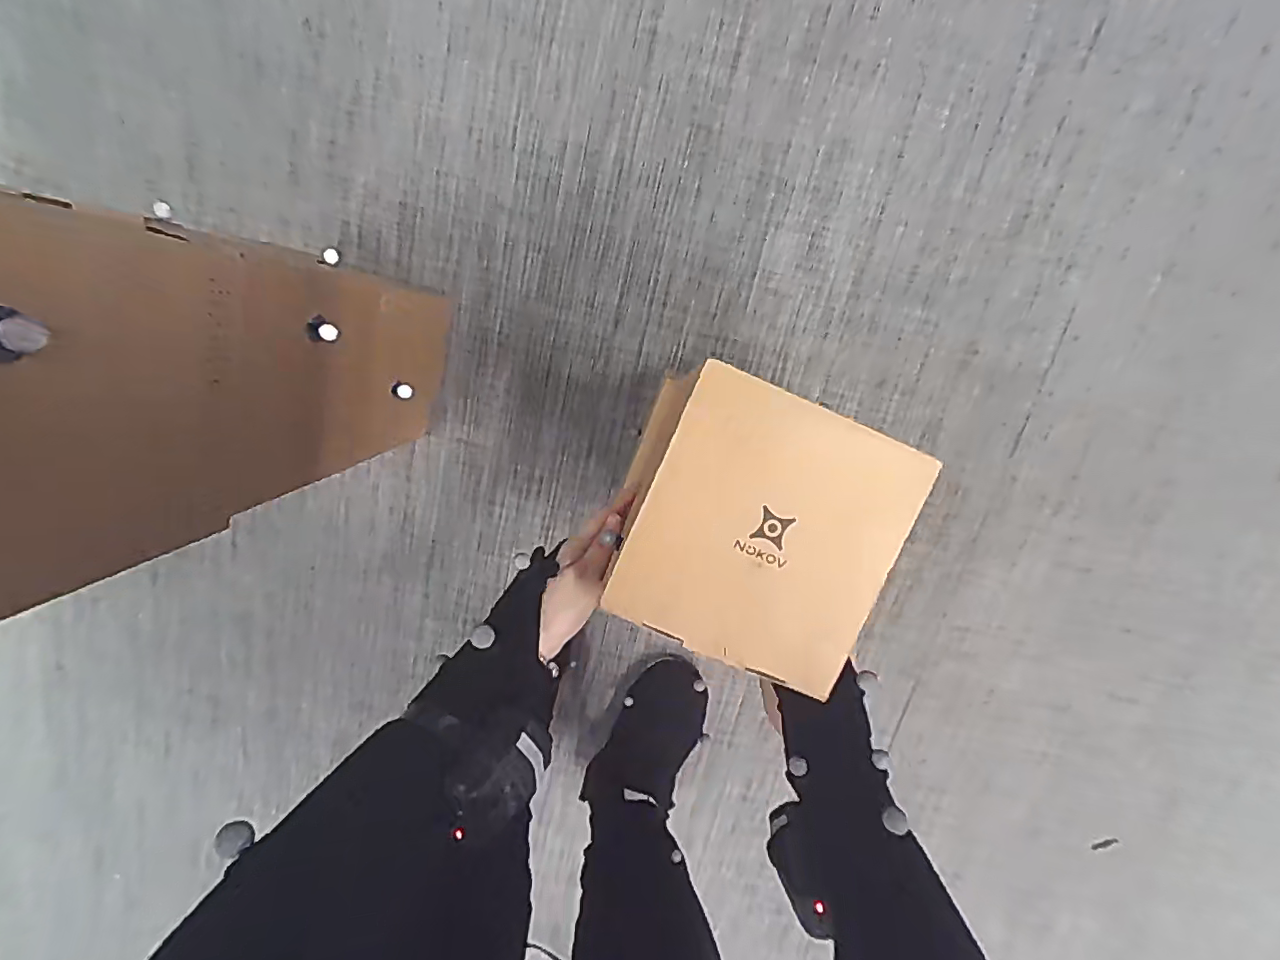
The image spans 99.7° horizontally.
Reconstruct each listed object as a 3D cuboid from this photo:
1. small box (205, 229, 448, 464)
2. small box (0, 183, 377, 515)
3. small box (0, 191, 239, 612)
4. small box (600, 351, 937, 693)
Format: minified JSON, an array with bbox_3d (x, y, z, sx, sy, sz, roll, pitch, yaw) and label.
[{"bbox_3d":[-0.325,-0.138,0.575,0.168,0.176,0.179,17,105,-2],"label":"small box"},{"bbox_3d":[-0.329,-0.096,0.418,0.168,0.176,0.179,14,105,0],"label":"small box"},{"bbox_3d":[-0.335,-0.053,0.259,0.168,0.176,0.179,15,104,0],"label":"small box"},{"bbox_3d":[0.078,0.021,0.419,0.168,0.176,0.179,23,96,-3],"label":"small box"}]
